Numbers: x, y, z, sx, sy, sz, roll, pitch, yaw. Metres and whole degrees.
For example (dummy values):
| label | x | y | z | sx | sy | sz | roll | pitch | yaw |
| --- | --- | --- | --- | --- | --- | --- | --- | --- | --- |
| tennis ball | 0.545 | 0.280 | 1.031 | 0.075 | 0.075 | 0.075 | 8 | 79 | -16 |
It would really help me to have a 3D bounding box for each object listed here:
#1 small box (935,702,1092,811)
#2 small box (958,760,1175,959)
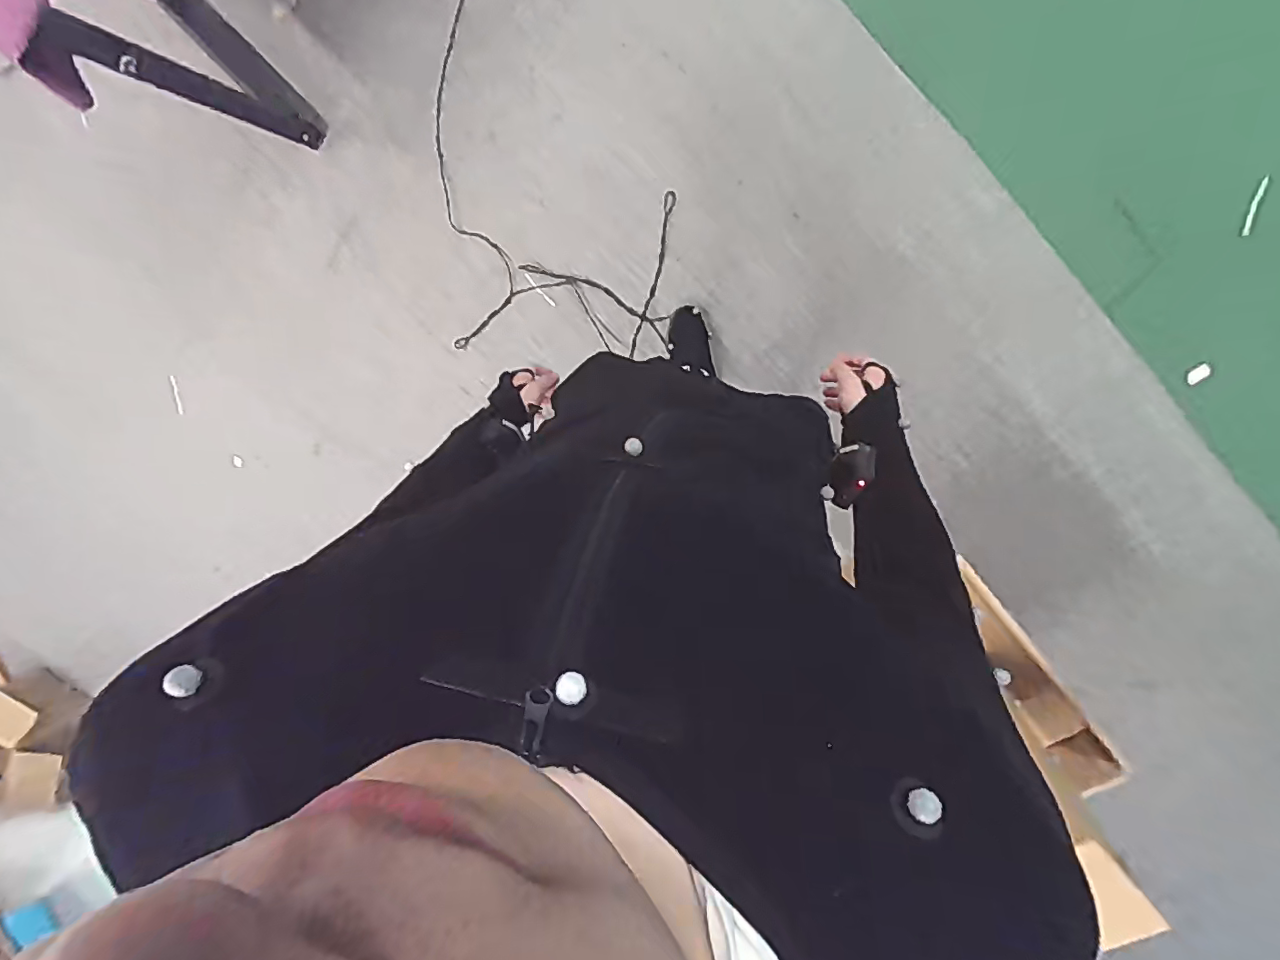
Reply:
| label | x | y | z | sx | sy | sz | roll | pitch | yaw |
| --- | --- | --- | --- | --- | --- | --- | --- | --- | --- |
| small box | 0.686 | 0.552 | 0.996 | 0.168 | 0.176 | 0.179 | -39 | 93 | 20 |
| small box | 0.641 | 0.584 | 0.840 | 0.168 | 0.176 | 0.179 | -41 | 92 | 19 |
